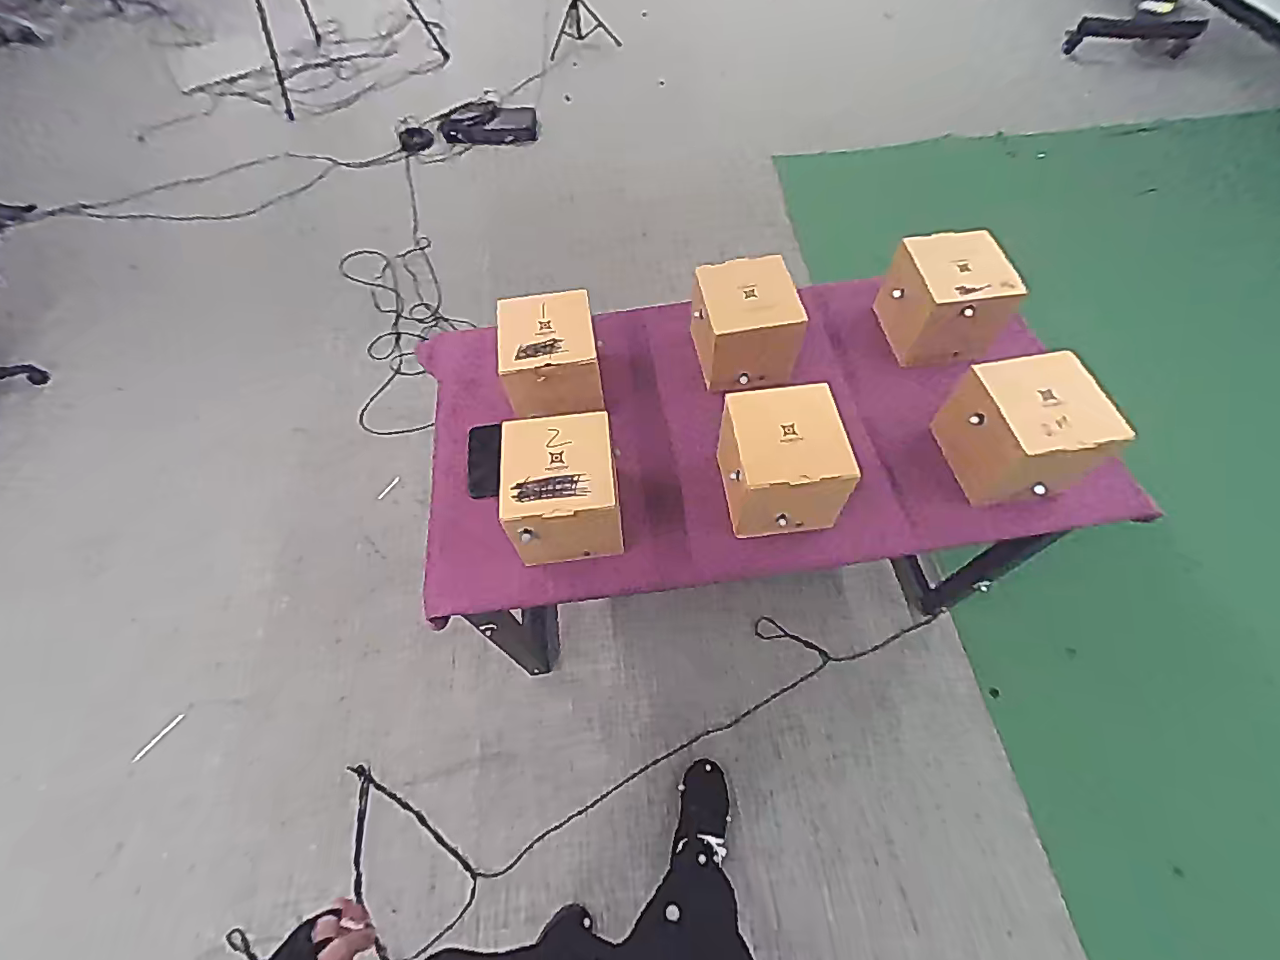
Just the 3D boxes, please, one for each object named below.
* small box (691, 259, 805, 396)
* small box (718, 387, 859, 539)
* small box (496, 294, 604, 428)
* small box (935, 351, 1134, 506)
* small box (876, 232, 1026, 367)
[{"bbox_3d":[0.194,-0.287,1.030,0.168,0.176,0.179,-9,61,-1],"label":"small box"},{"bbox_3d":[0.224,-0.024,0.875,0.168,0.176,0.179,-7,59,-1],"label":"small box"},{"bbox_3d":[-0.163,-0.211,1.004,0.168,0.176,0.179,-9,60,-2],"label":"small box"},{"bbox_3d":[0.618,-0.079,0.879,0.168,0.176,0.179,-10,60,-1],"label":"small box"},{"bbox_3d":[0.578,-0.343,1.038,0.168,0.176,0.179,-7,60,0],"label":"small box"}]
